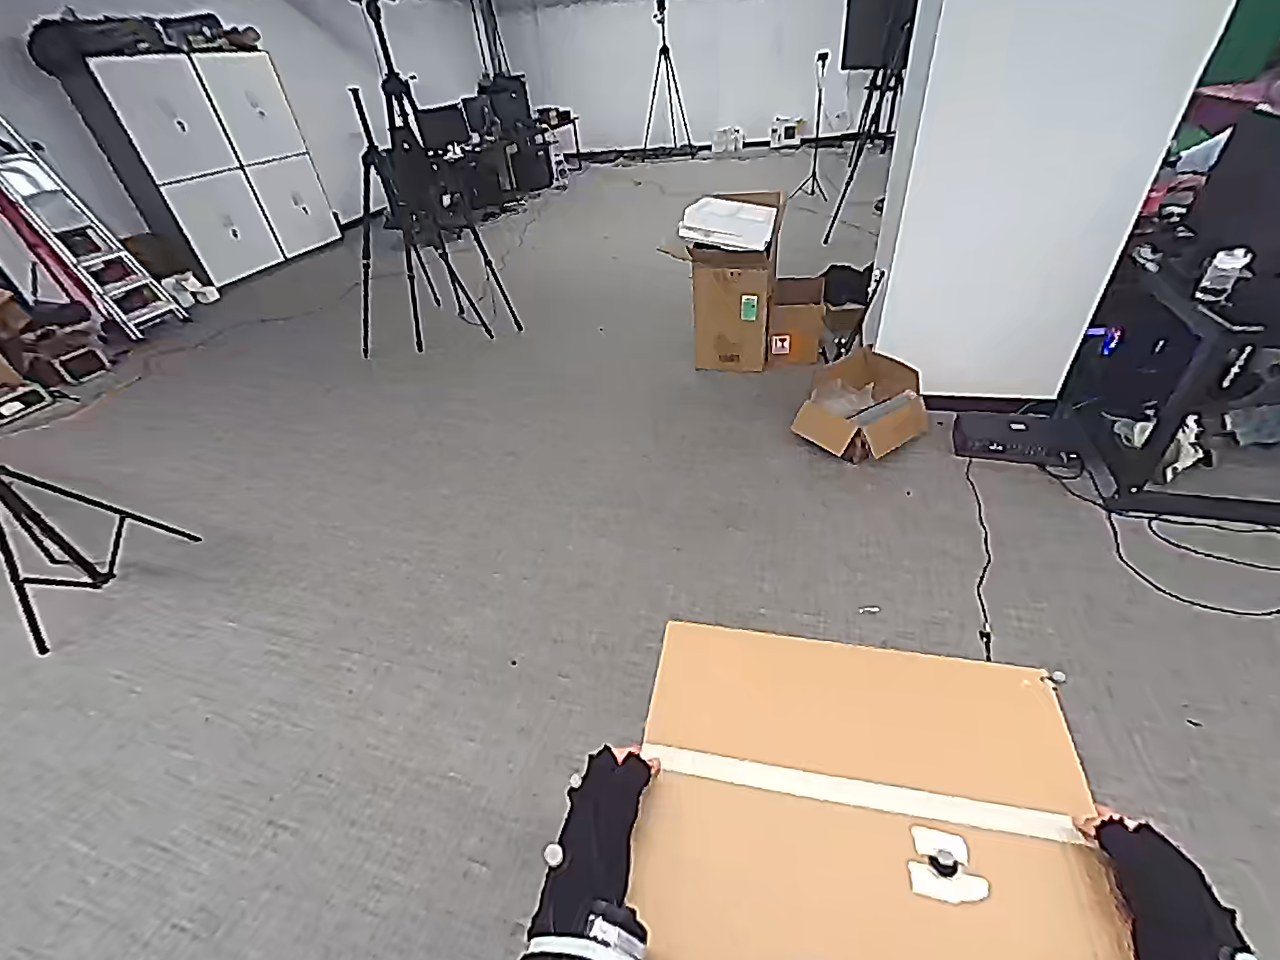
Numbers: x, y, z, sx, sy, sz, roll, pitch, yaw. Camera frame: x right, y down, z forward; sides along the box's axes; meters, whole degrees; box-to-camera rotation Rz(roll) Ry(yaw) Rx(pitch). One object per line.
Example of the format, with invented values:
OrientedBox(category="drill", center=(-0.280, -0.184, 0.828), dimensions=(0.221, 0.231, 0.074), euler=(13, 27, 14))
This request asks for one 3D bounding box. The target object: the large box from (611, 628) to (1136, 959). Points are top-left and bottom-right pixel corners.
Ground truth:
OrientedBox(category="large box", center=(0.207, 0.401, 0.604), dimensions=(0.408, 0.320, 0.320), euler=(4, 44, 12))
